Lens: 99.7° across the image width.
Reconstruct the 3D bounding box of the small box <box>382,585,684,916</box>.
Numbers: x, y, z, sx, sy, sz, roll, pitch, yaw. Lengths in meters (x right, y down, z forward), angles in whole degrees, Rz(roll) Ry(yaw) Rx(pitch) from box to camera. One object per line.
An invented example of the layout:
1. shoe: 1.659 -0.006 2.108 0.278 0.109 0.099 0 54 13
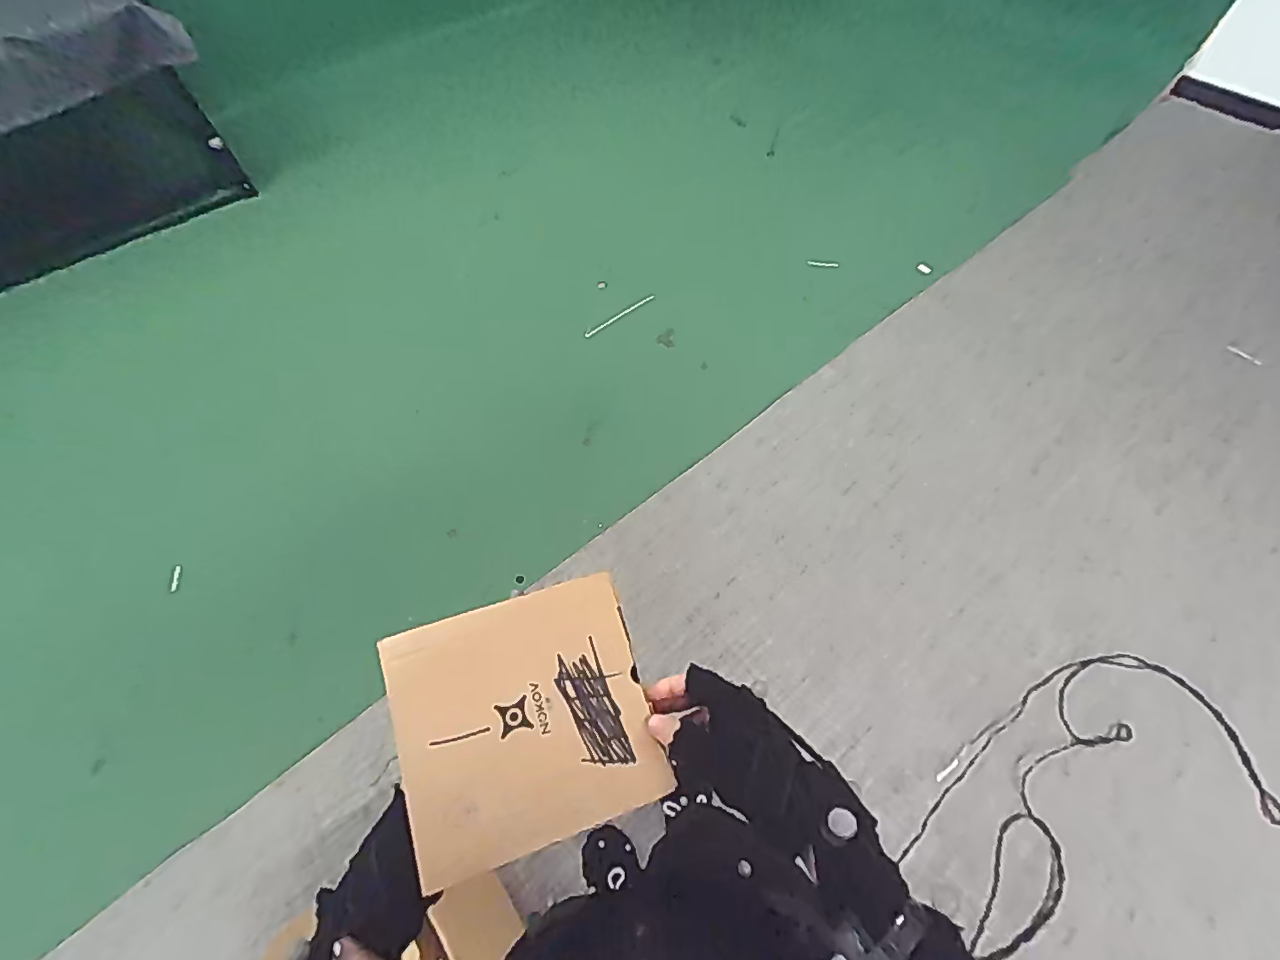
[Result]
1. small box: -0.086 0.200 0.446 0.179 0.176 0.168 -16 71 -13
